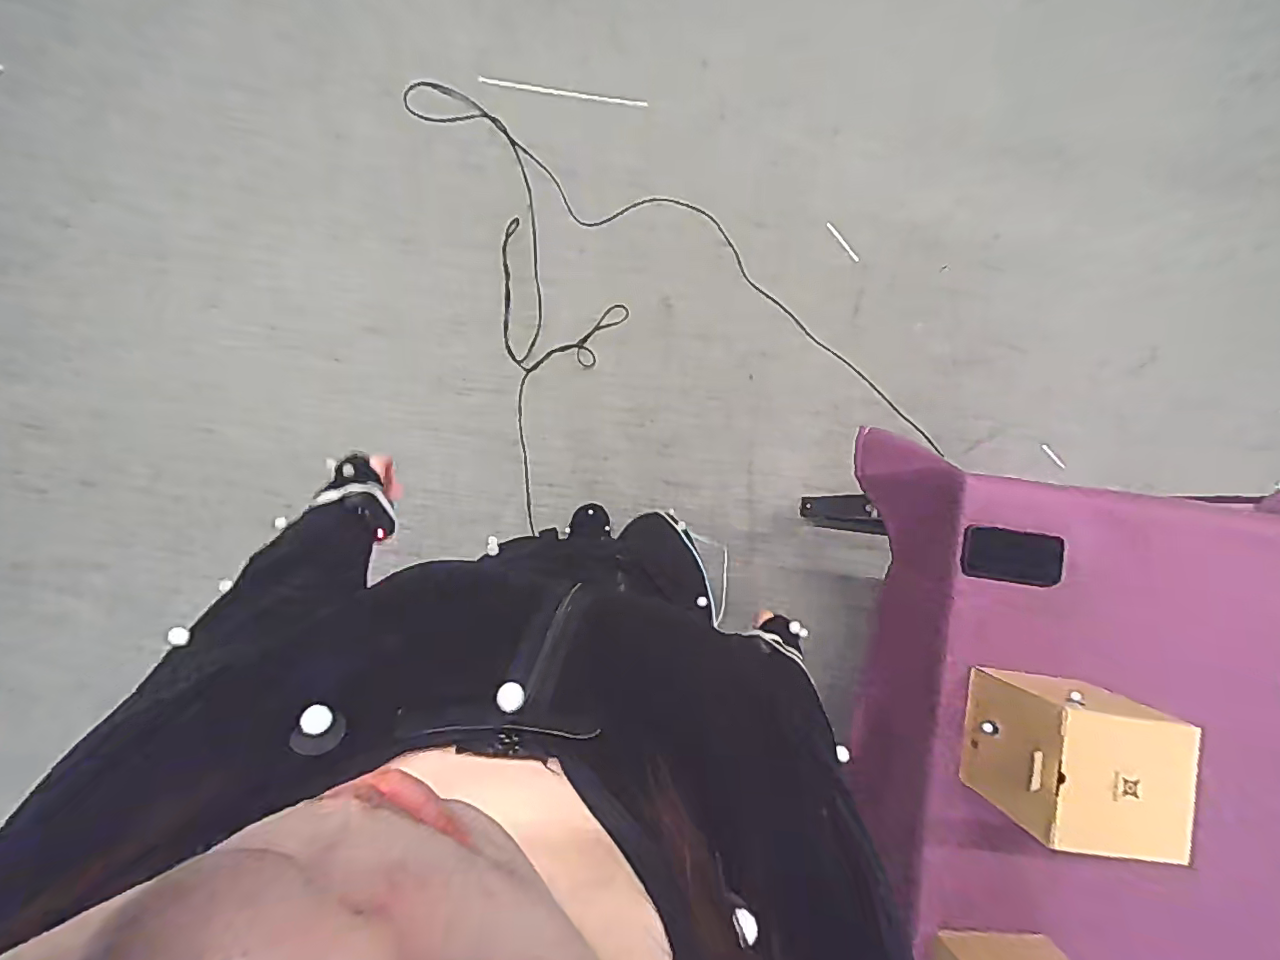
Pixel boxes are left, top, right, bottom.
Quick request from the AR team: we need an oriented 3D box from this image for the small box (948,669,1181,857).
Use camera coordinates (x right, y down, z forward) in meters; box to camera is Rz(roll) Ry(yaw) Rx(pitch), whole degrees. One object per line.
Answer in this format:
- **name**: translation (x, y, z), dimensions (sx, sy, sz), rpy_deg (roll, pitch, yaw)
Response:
- **small box**: translation (0.566, 0.372, 0.740), dimensions (0.179, 0.176, 0.168), rpy_deg (9, 88, -4)
